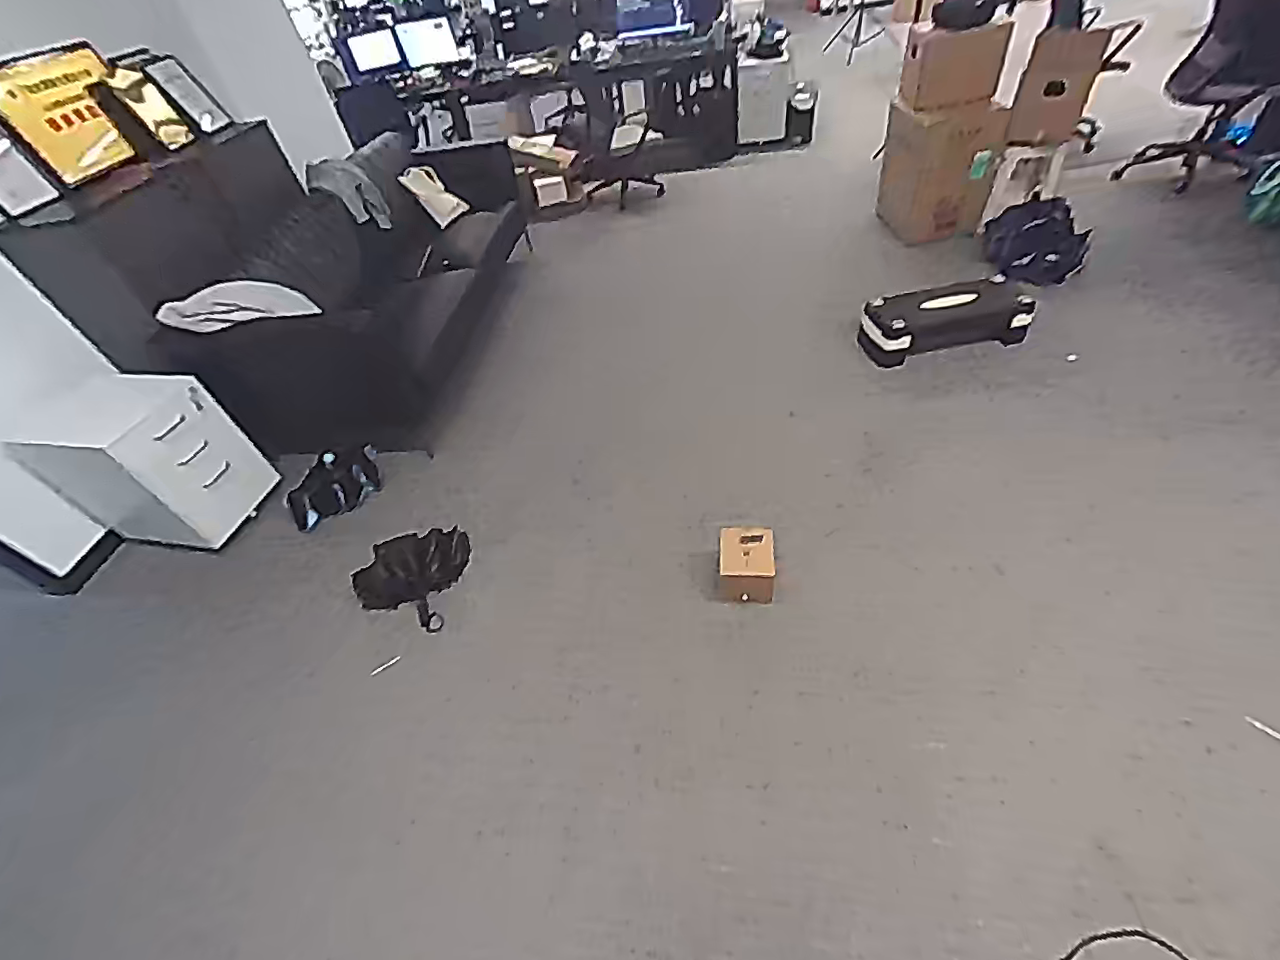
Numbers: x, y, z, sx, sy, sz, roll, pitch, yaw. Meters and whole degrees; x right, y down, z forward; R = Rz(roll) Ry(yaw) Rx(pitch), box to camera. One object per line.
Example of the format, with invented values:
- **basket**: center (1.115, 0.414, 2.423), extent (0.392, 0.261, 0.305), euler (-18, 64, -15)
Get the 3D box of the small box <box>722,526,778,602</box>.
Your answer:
- **small box**: center (0.352, 0.268, 1.733), extent (0.168, 0.176, 0.179), euler (-1, 47, 12)
